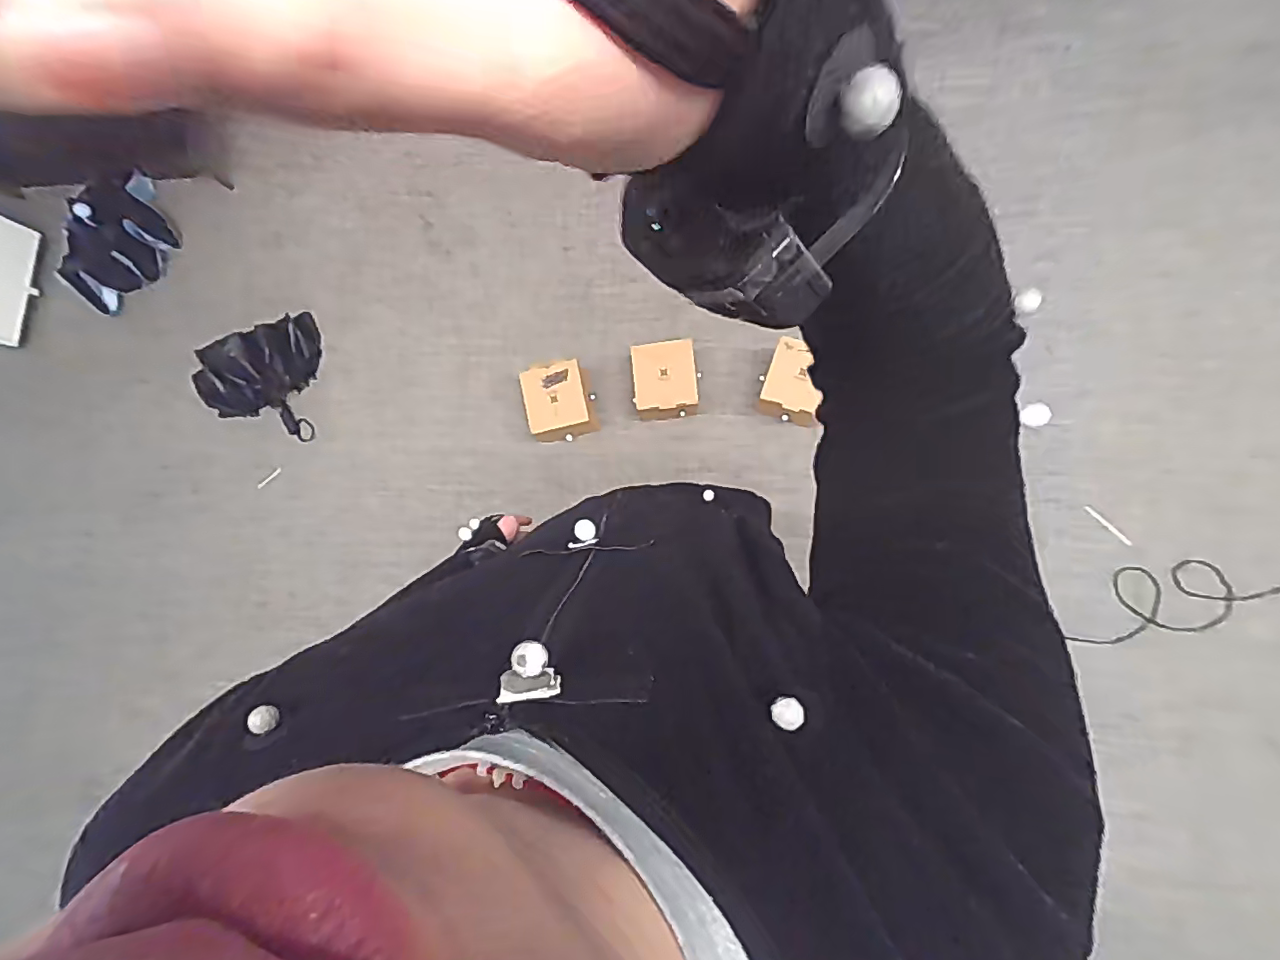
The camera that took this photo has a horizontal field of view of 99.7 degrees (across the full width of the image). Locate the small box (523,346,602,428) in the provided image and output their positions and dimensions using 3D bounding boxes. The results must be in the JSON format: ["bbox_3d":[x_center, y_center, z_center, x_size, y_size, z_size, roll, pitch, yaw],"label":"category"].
[{"bbox_3d":[-0.215,-0.256,1.530,0.168,0.176,0.179,-12,86,7],"label":"small box"}]

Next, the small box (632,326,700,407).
[{"bbox_3d":[0.076,-0.306,1.498,0.168,0.176,0.179,-6,85,6],"label":"small box"}]

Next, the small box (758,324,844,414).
[{"bbox_3d":[0.423,-0.290,1.449,0.168,0.176,0.179,20,90,9],"label":"small box"}]
